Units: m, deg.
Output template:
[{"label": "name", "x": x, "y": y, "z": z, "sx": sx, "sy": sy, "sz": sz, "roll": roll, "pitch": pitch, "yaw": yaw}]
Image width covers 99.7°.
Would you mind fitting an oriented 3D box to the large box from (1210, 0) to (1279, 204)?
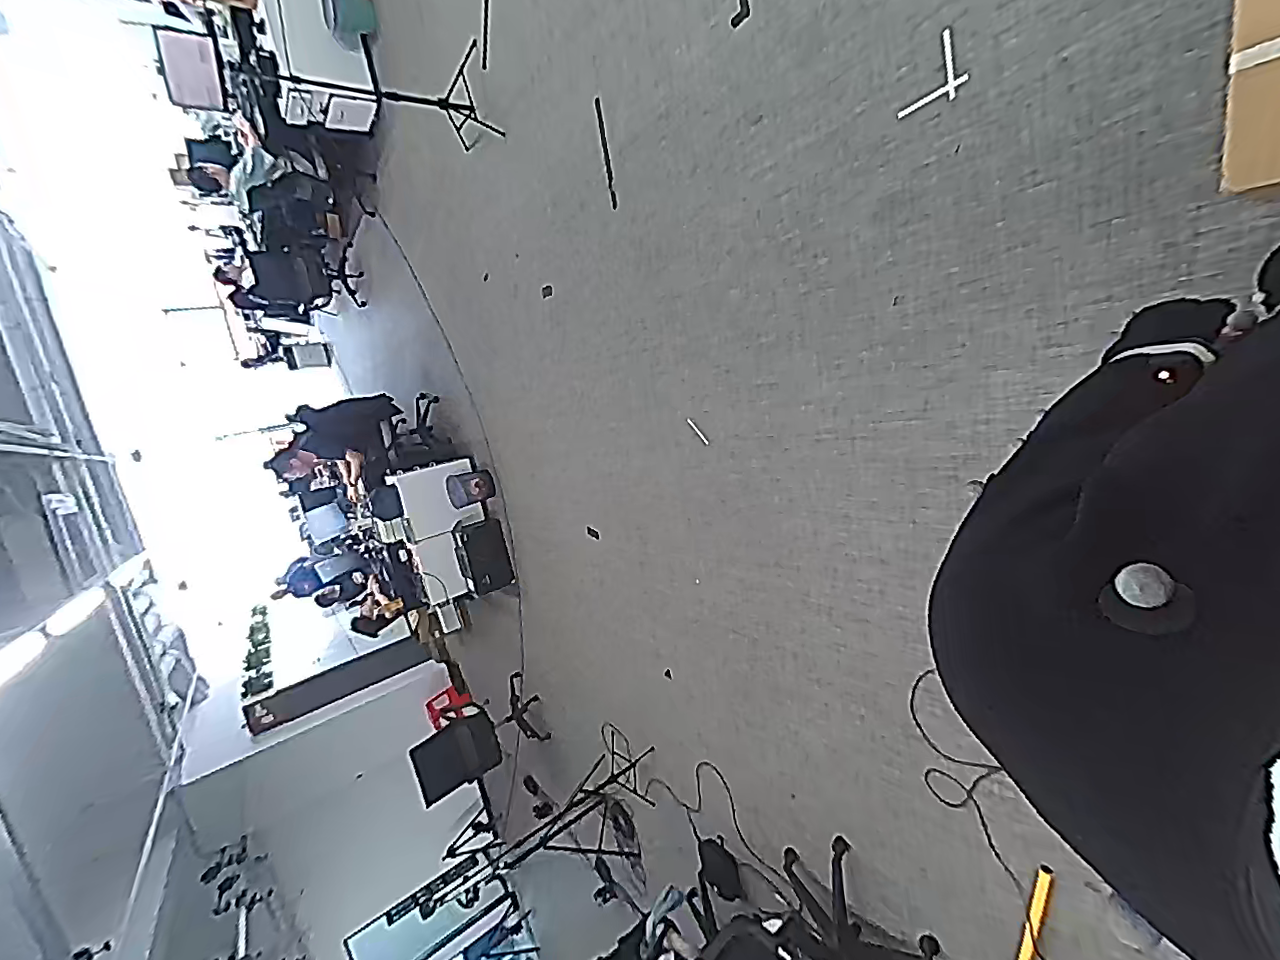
[{"label": "large box", "x": 0.983, "y": -0.547, "z": 0.624, "sx": 0.408, "sy": 0.320, "sz": 0.320, "roll": 8, "pitch": 111, "yaw": 52}]
